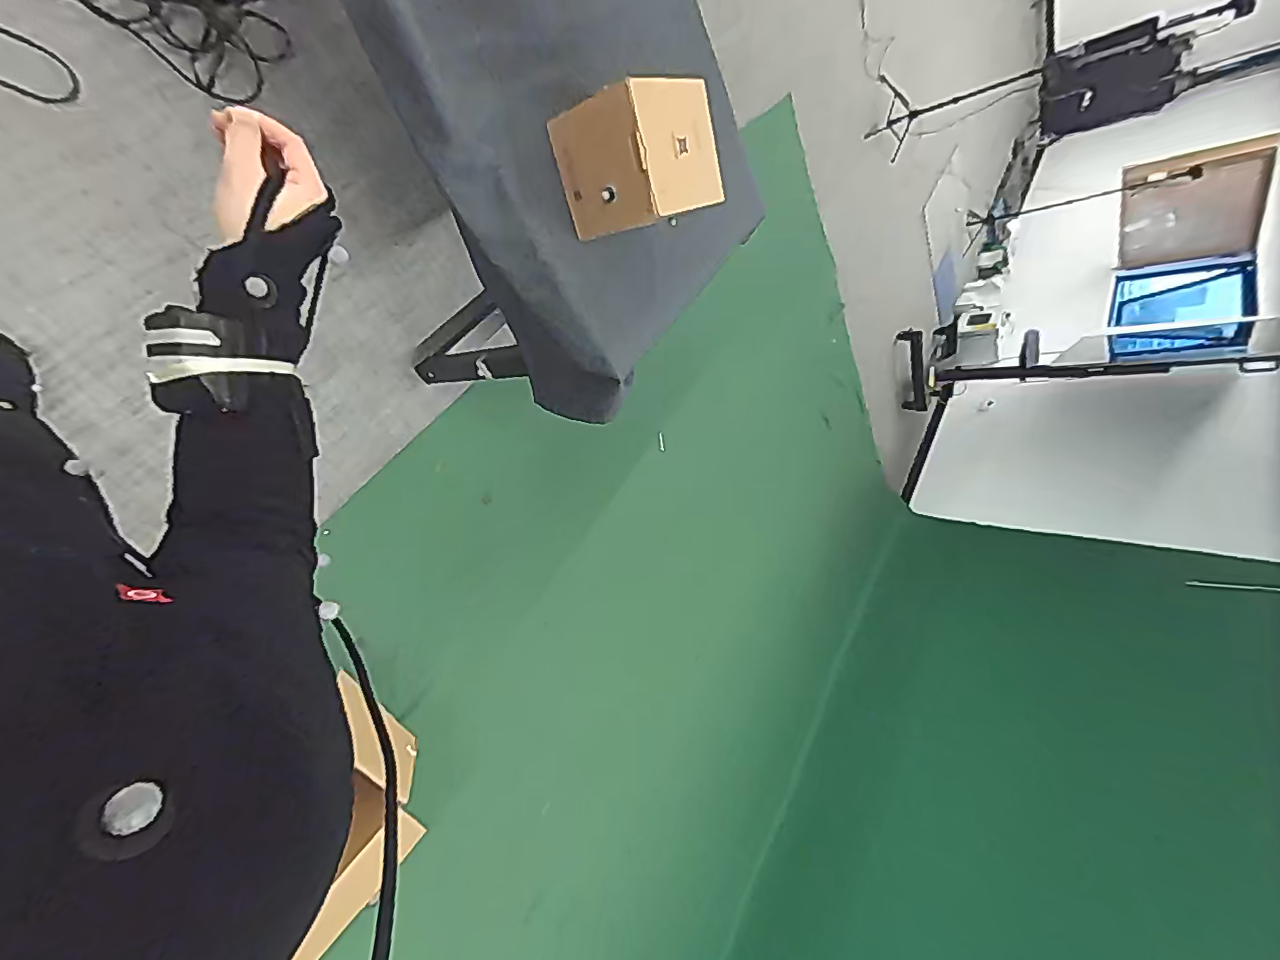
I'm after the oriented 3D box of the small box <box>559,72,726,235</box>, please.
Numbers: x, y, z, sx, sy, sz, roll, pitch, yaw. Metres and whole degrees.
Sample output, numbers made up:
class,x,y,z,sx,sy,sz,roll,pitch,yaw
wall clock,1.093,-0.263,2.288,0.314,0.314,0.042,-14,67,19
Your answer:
class,x,y,z,sx,sy,sz,roll,pitch,yaw
small box,0.000,-0.480,0.809,0.179,0.176,0.168,-37,122,-40
